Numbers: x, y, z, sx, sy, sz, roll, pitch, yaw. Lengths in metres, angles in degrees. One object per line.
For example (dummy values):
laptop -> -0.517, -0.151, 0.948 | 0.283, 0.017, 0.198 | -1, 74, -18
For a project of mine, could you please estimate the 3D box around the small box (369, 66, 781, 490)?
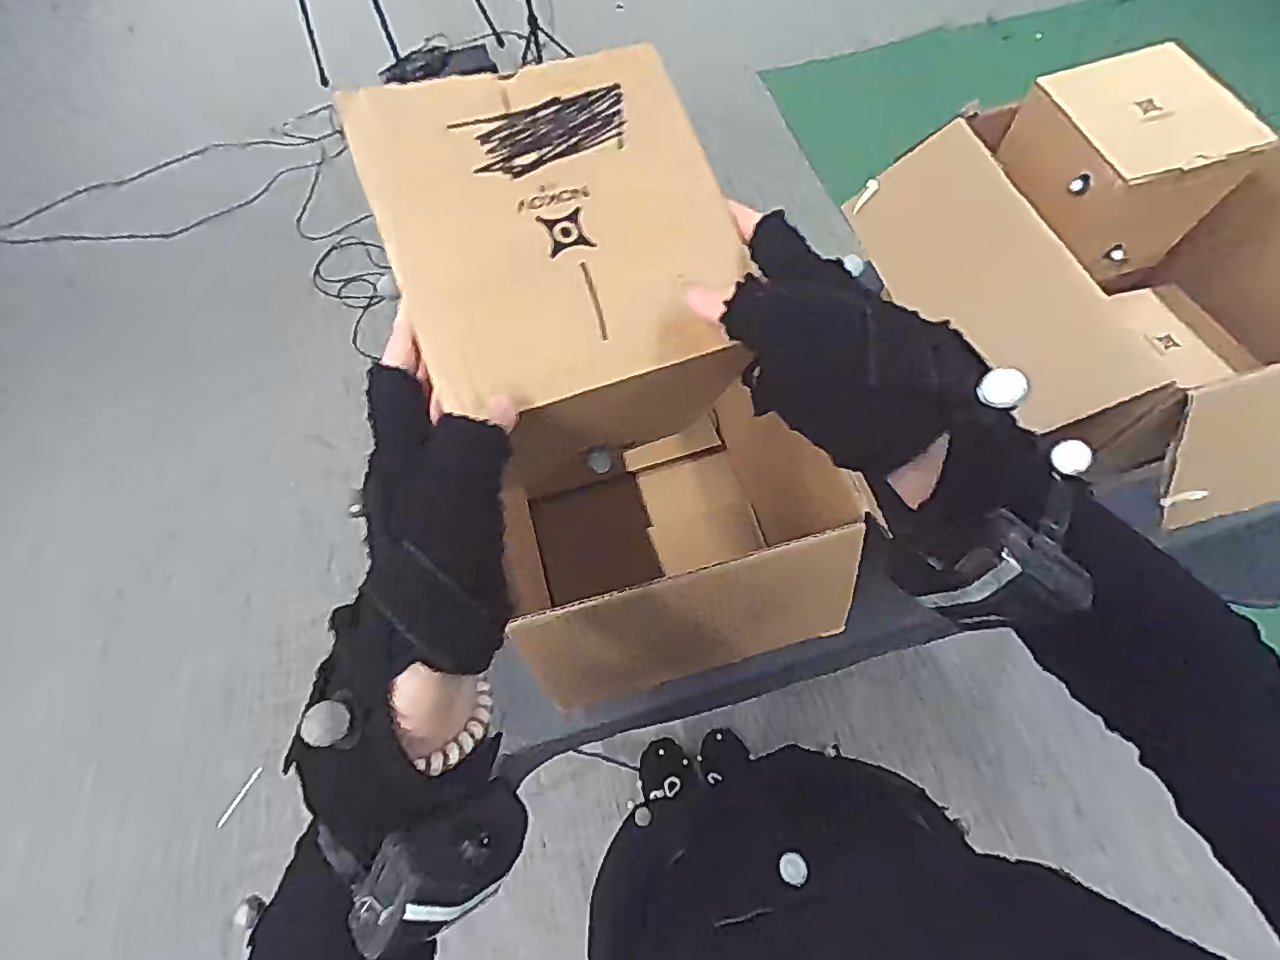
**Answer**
small box -> -0.045, -0.109, 0.346 | 0.168, 0.176, 0.179 | -18, 83, -13
